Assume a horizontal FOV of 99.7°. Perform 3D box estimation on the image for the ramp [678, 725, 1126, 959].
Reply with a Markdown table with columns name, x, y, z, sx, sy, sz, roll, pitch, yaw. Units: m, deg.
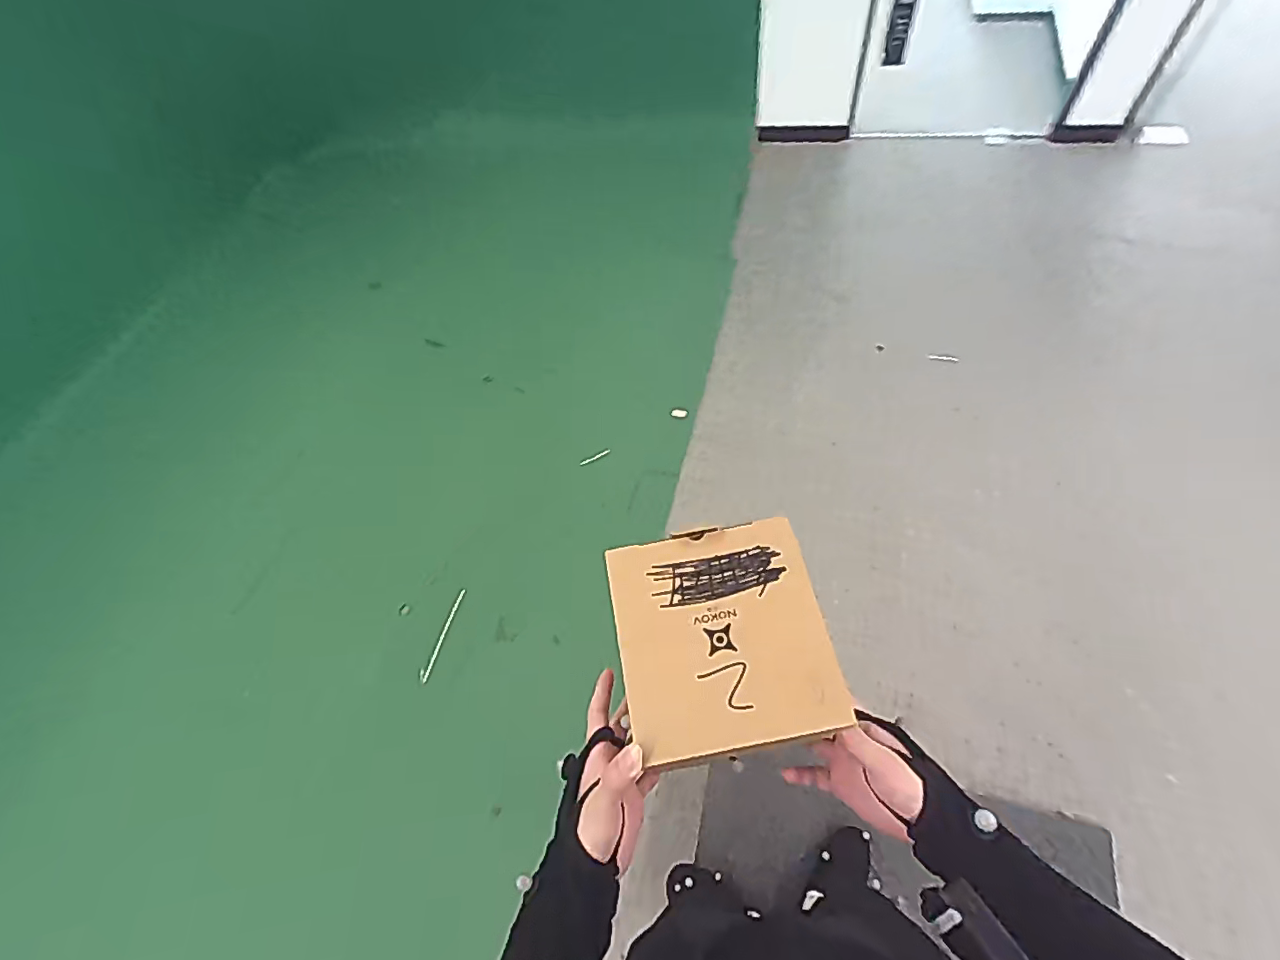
| name | x | y | z | sx | sy | sz | roll | pitch | yaw |
| --- | --- | --- | --- | --- | --- | --- | --- | --- | --- |
| ramp | 0.619 | 0.954 | 1.266 | 0.991 | 0.206 | 0.509 | 7 | 61 | 12 |
